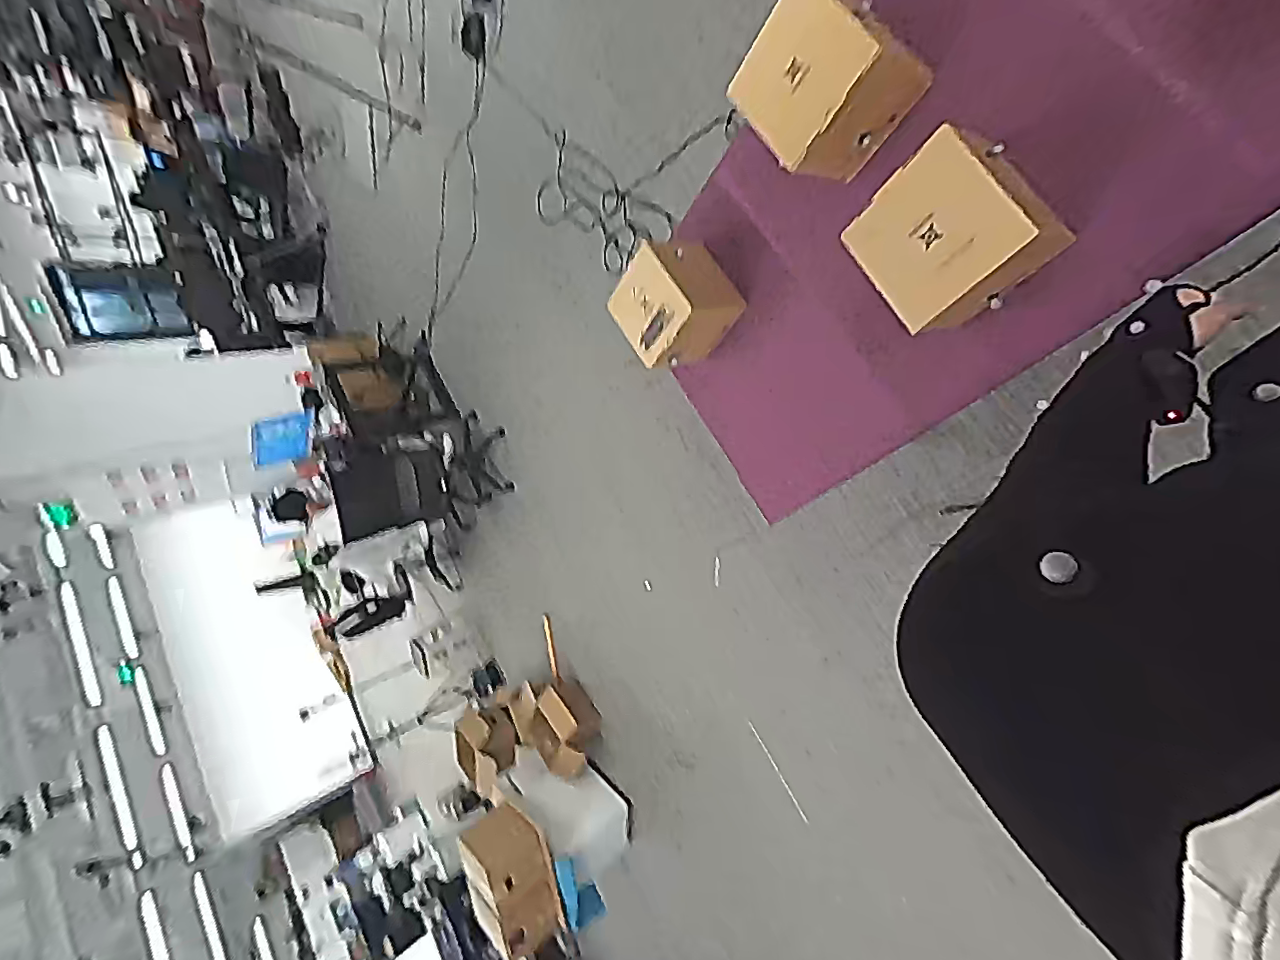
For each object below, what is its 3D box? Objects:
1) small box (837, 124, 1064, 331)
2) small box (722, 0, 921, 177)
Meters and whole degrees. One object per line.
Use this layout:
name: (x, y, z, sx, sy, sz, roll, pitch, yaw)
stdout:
small box: (0.404, -0.318, 0.709, 0.168, 0.176, 0.179, -44, 70, 48)
small box: (0.260, -0.568, 0.780, 0.179, 0.176, 0.168, 58, 138, 14)
